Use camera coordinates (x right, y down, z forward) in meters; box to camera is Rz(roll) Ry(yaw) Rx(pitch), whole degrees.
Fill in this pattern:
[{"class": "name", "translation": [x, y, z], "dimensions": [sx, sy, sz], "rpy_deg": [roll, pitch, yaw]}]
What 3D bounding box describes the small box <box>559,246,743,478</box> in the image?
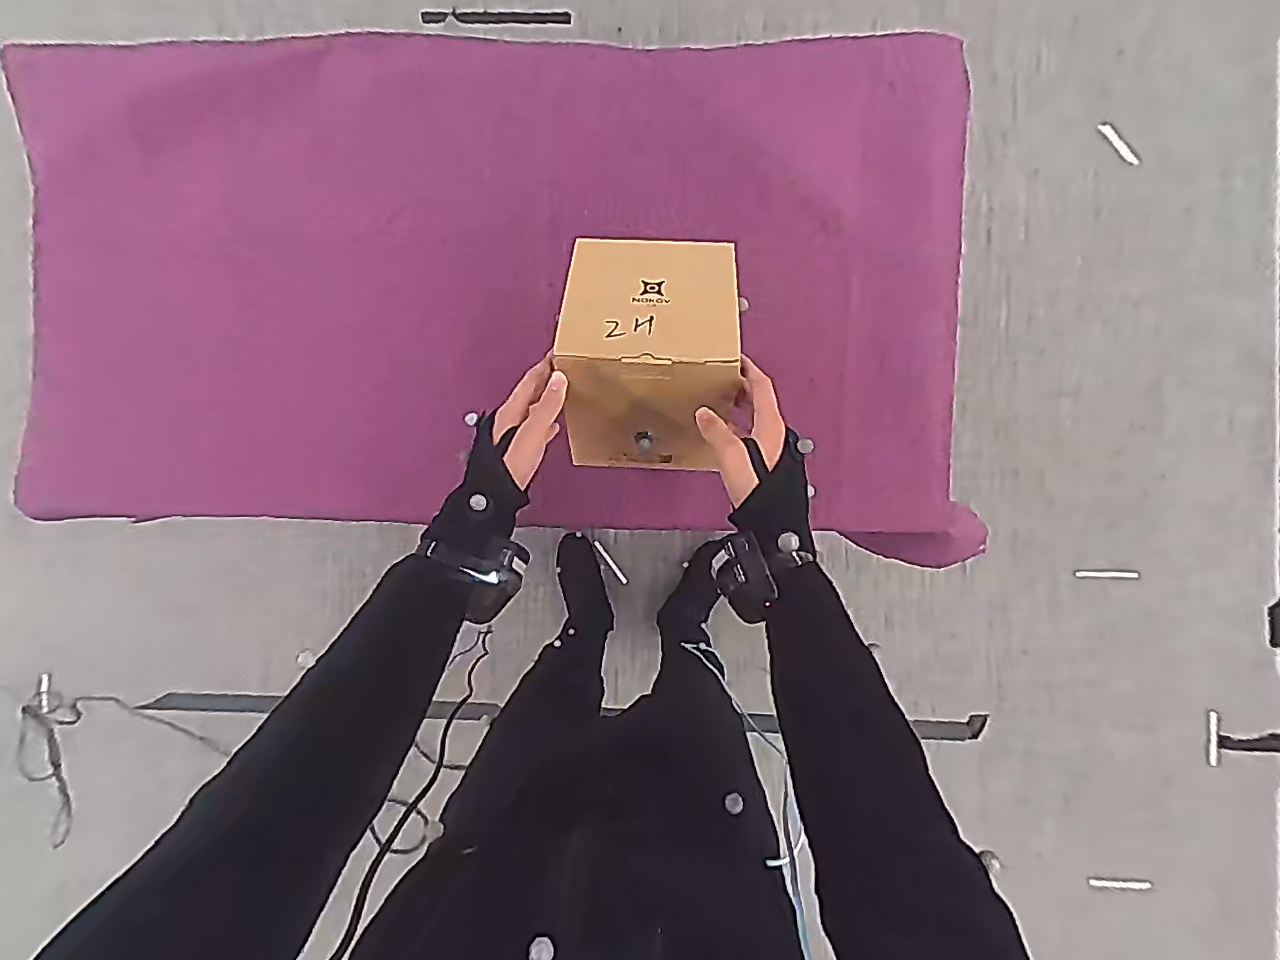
[{"class": "small box", "translation": [0.015, -0.125, 0.584], "dimensions": [0.168, 0.176, 0.179], "rpy_deg": [3, 56, 3]}]
